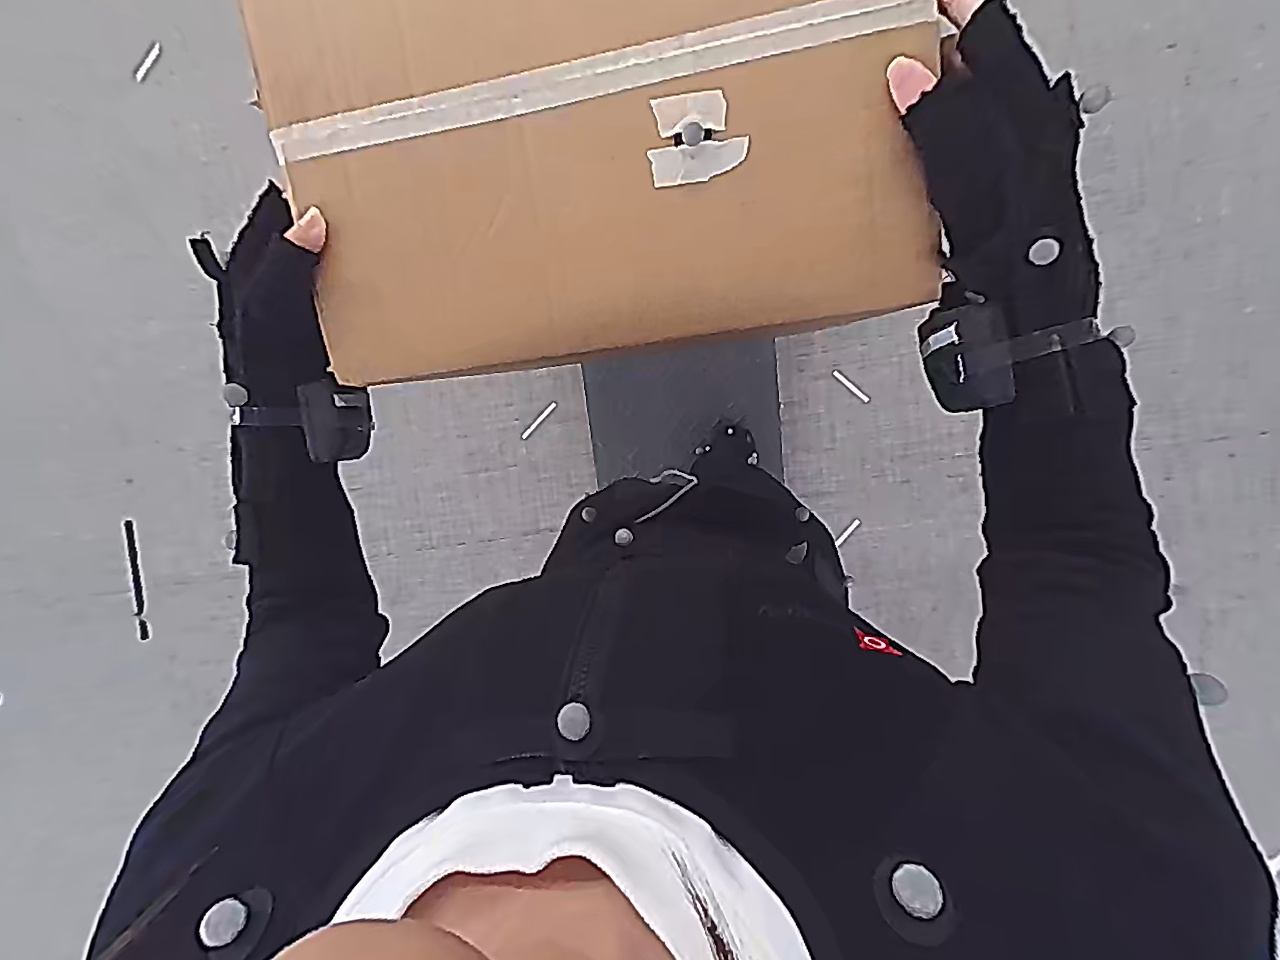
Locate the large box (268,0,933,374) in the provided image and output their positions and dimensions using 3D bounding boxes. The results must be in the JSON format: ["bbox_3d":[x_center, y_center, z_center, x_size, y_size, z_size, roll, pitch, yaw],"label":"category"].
[{"bbox_3d":[-0.018,-0.282,0.481,0.408,0.320,0.320,-7,103,8],"label":"large box"}]
